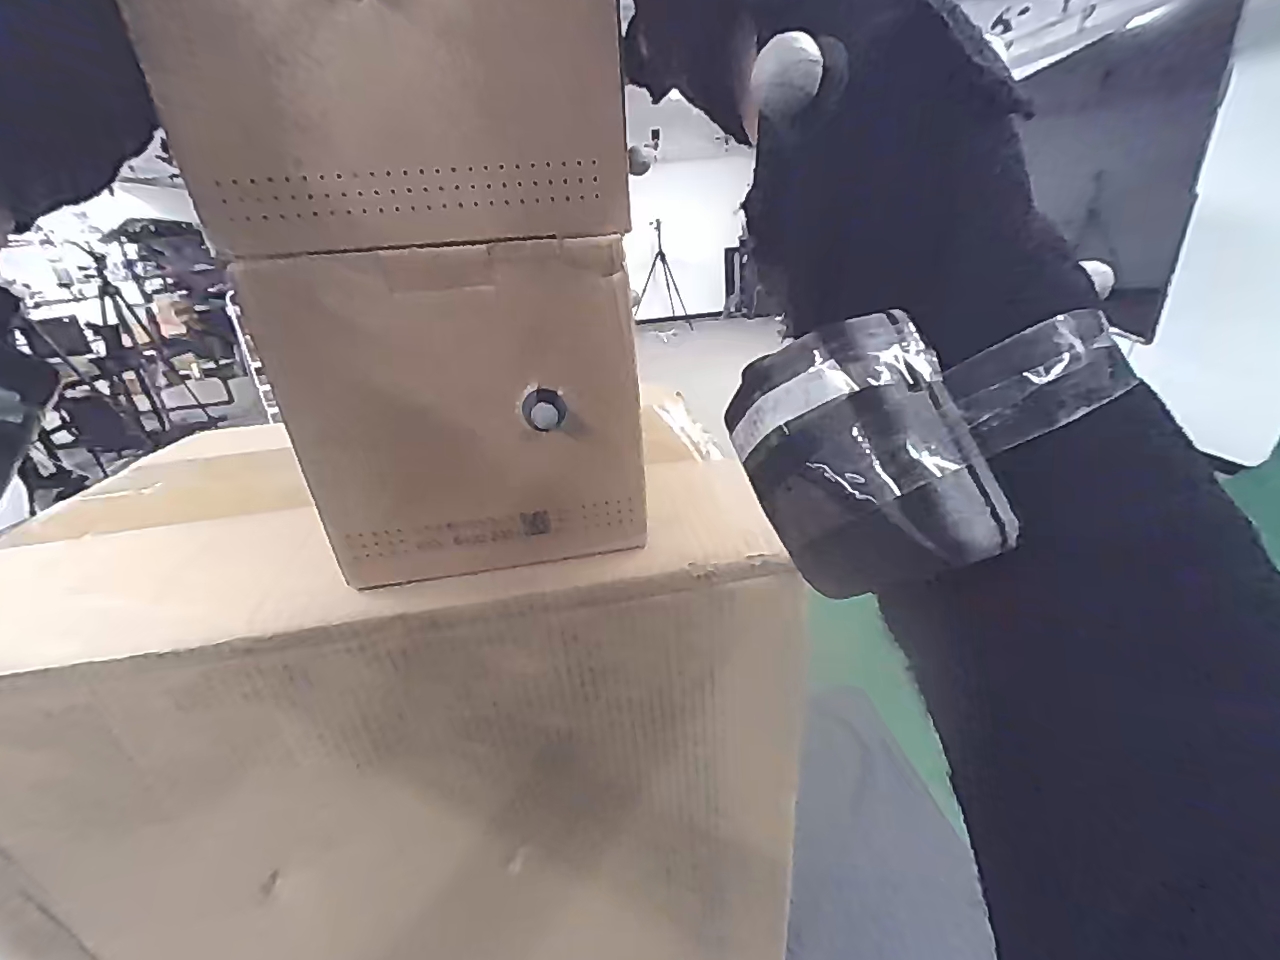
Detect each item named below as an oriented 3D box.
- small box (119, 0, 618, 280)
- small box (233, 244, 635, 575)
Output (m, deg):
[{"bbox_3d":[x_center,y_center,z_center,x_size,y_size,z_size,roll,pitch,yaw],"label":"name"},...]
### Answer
[{"bbox_3d":[-0.107,-0.198,0.266,0.179,0.176,0.168,-7,28,-10],"label":"small box"},{"bbox_3d":[-0.098,-0.053,0.342,0.168,0.176,0.179,-7,26,-7],"label":"small box"}]
